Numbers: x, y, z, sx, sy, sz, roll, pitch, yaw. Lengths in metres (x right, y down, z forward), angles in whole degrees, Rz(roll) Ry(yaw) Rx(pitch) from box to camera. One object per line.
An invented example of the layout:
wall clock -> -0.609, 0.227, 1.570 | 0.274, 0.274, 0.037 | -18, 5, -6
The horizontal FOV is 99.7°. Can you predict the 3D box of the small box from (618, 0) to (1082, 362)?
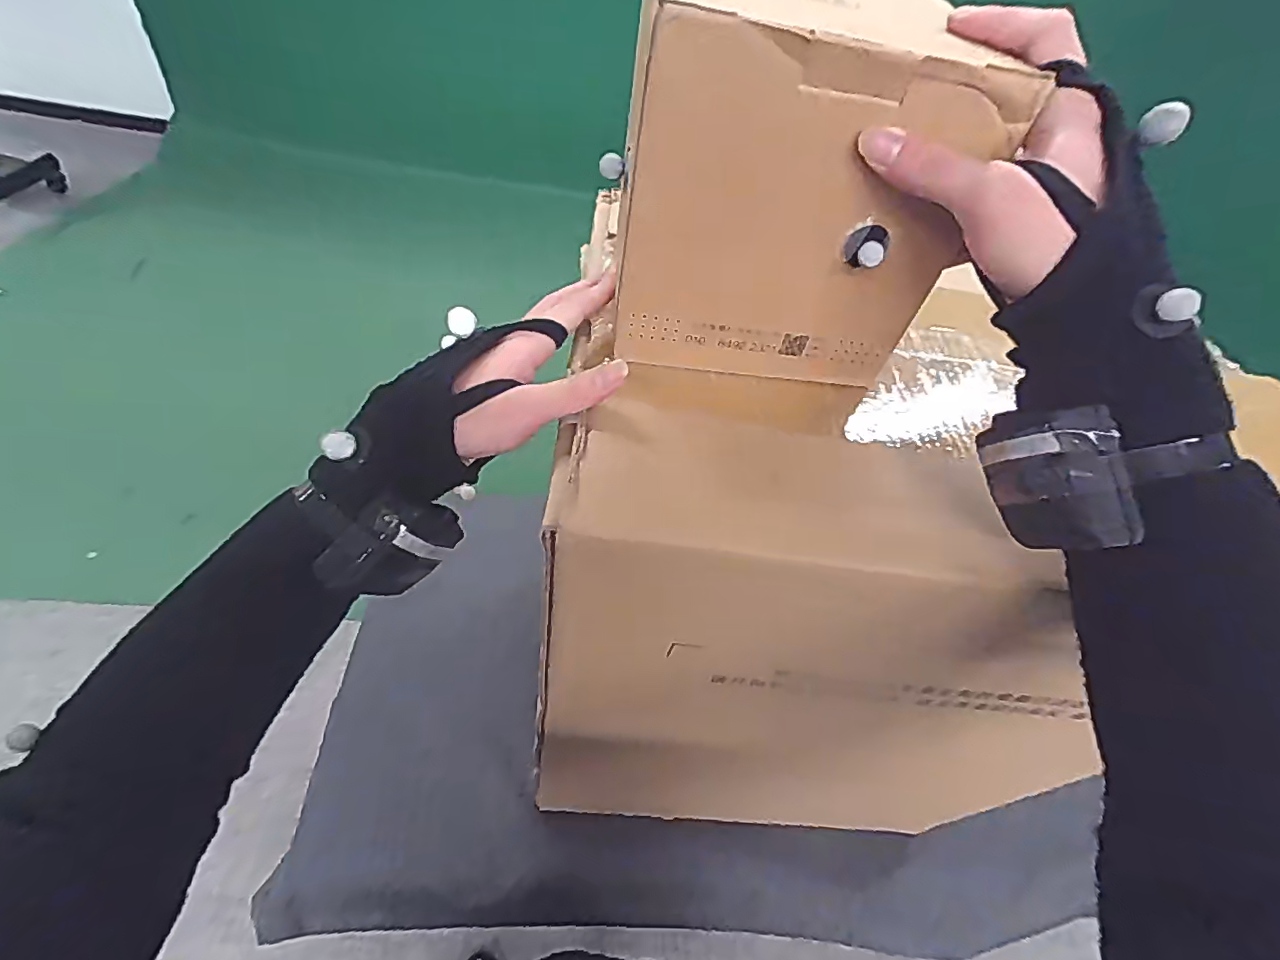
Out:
small box -> 0.081, -0.191, 0.316 | 0.168, 0.176, 0.179 | 6, 49, -9
